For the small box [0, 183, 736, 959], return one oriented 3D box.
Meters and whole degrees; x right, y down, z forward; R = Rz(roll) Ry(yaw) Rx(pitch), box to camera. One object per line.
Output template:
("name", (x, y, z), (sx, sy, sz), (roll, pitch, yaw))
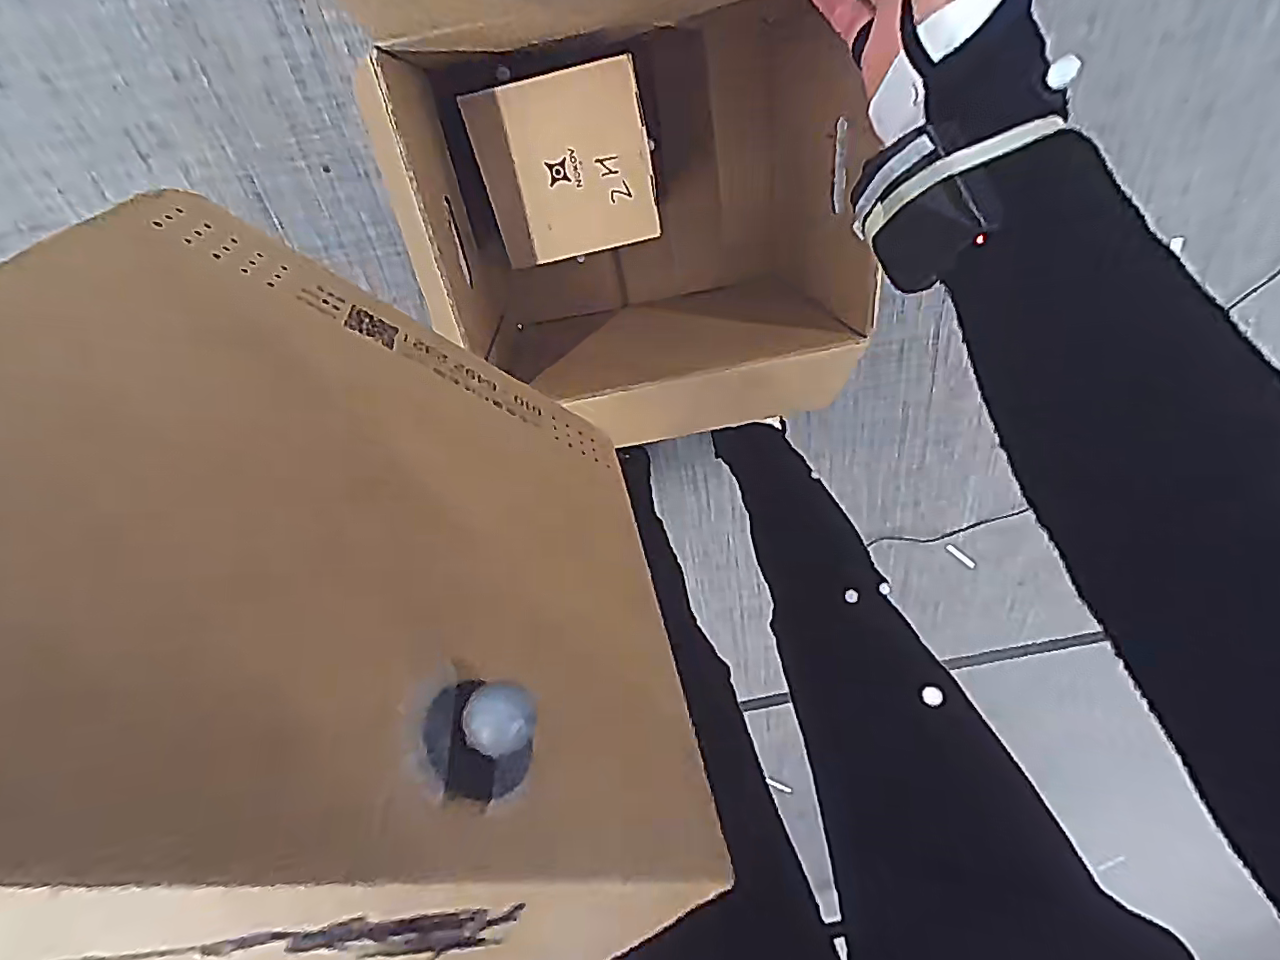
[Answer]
("small box", (-0.107, 0.055, 0.160), (0.168, 0.176, 0.179), (29, 118, -33))
